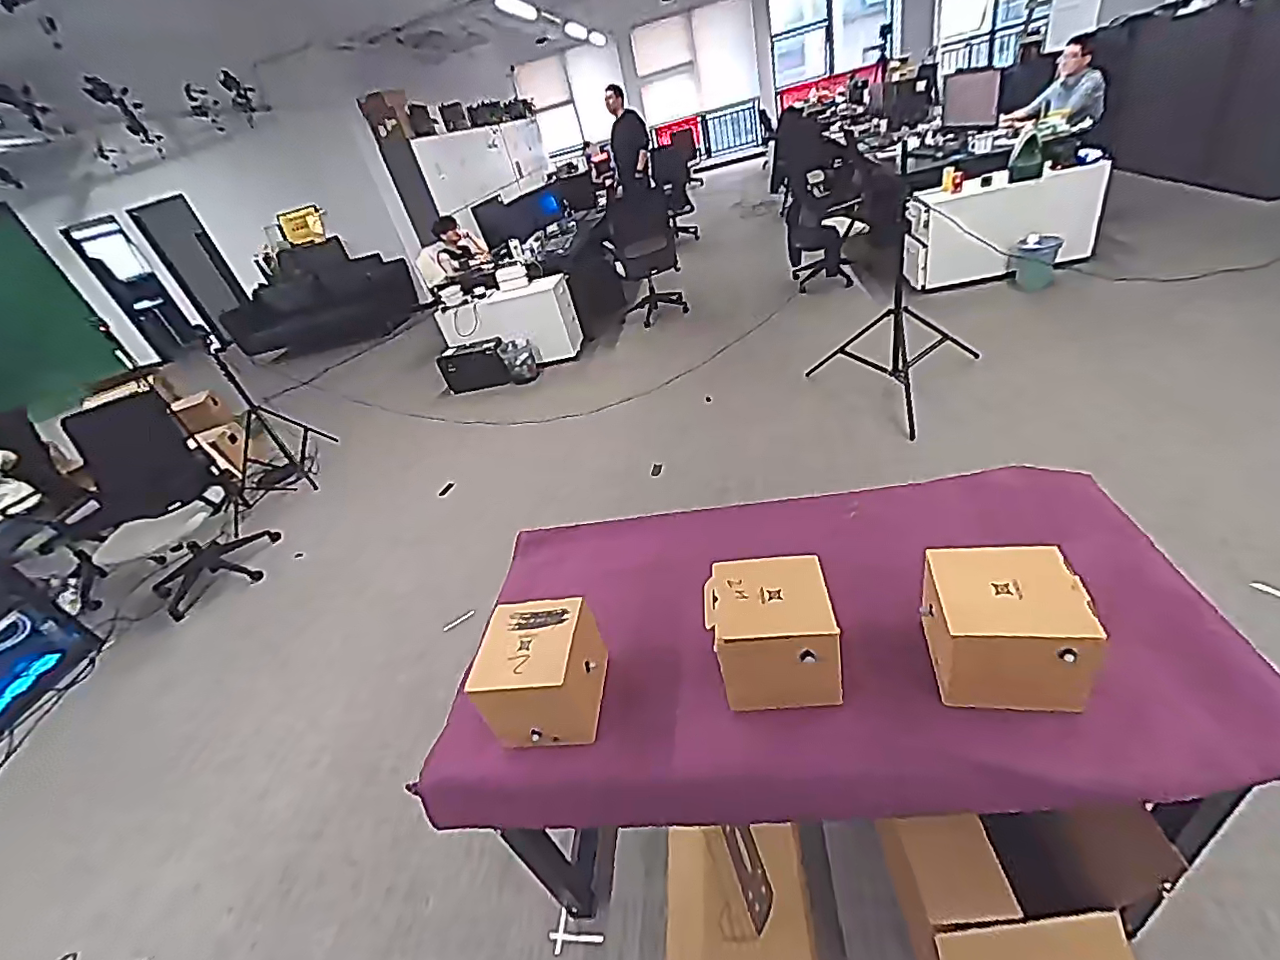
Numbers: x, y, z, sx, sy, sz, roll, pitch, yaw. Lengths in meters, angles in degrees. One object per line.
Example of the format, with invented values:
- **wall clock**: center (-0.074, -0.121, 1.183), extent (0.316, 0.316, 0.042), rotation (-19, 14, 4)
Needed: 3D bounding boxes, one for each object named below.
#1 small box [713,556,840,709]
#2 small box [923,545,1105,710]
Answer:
- **small box**: center (0.217, 0.247, 0.872), extent (0.179, 0.176, 0.168), rotation (-9, 32, 11)
- **small box**: center (0.523, 0.214, 0.789), extent (0.179, 0.176, 0.168), rotation (-4, 35, 17)
